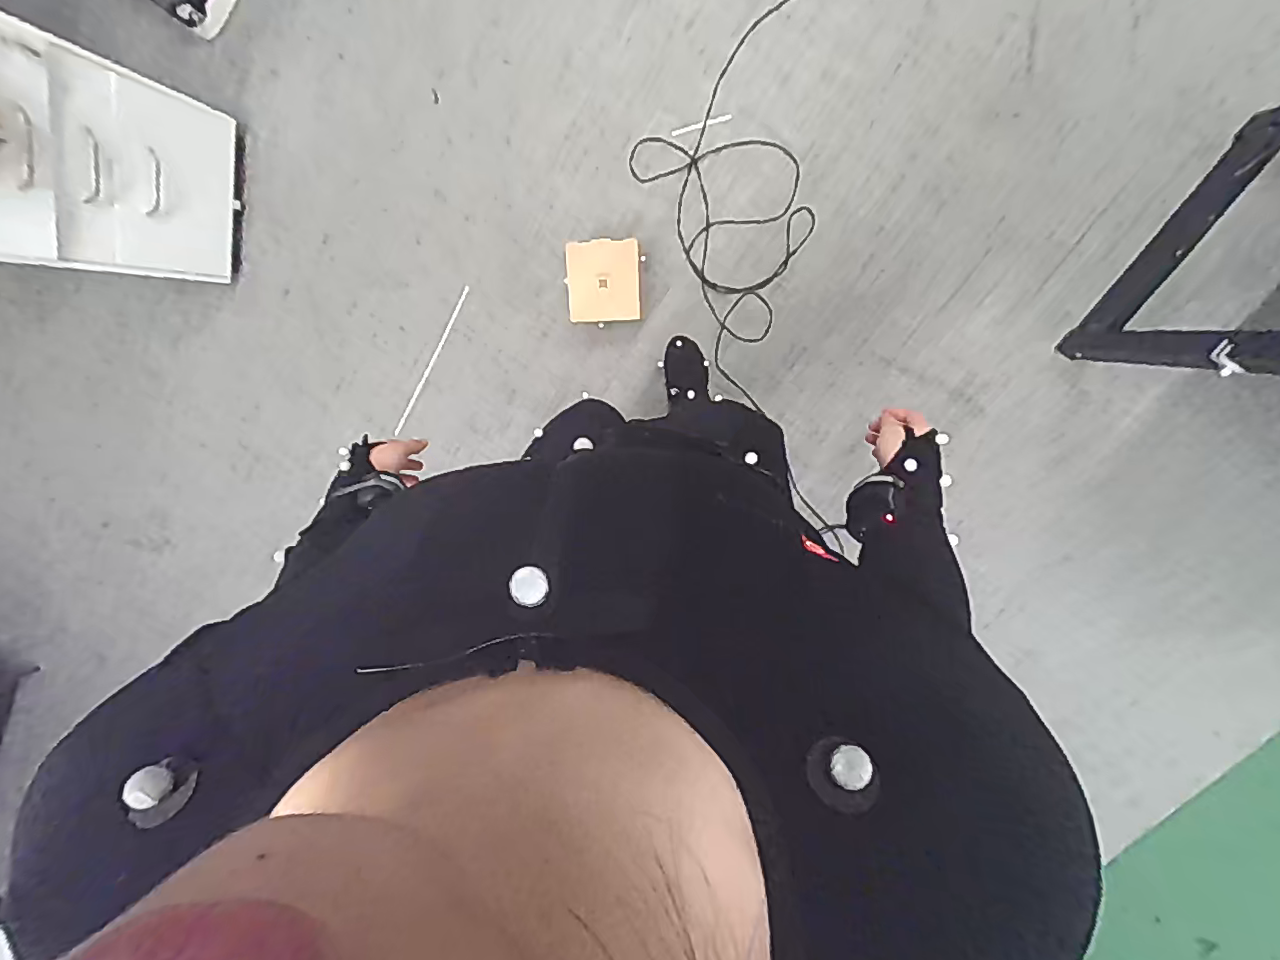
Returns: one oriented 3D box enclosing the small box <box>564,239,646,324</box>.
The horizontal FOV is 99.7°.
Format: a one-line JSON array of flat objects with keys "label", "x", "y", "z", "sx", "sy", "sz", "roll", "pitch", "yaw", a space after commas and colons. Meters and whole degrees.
[{"label": "small box", "x": -0.077, "y": -0.472, "z": 1.305, "sx": 0.168, "sy": 0.176, "sz": 0.179, "roll": -1, "pitch": 105, "yaw": 7}]
